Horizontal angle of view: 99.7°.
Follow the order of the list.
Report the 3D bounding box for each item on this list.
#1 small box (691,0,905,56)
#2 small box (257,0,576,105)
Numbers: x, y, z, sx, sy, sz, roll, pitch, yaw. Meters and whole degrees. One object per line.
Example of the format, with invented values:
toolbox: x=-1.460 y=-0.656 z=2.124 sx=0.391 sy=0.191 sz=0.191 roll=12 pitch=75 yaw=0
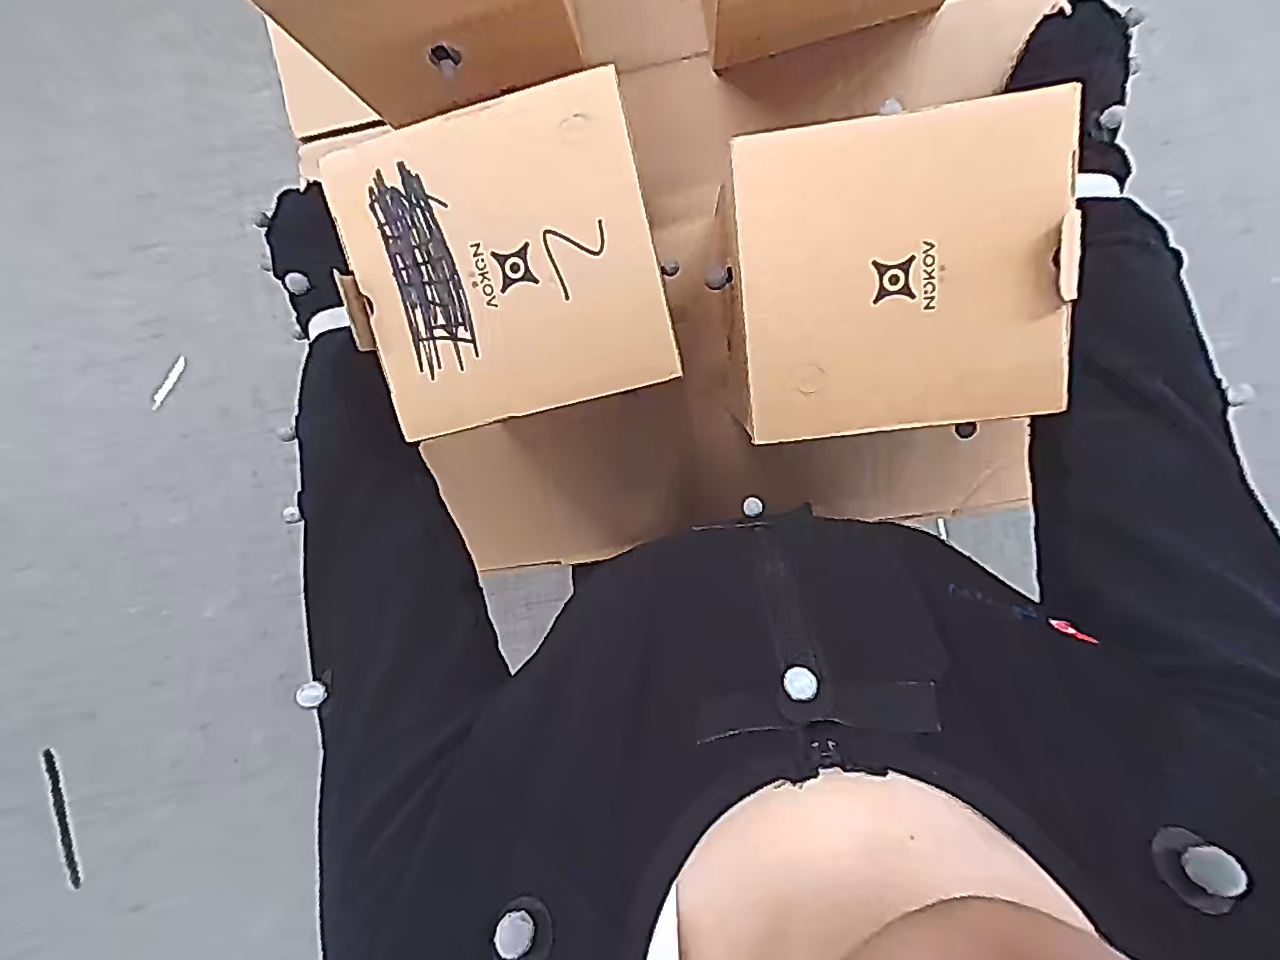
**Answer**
small box: x=0.111 y=-0.405 z=0.321 sx=0.179 sy=0.176 sz=0.168 roll=-10 pitch=99 yaw=8
small box: x=-0.147 y=-0.379 z=0.349 sx=0.168 sy=0.176 sz=0.179 roll=-9 pitch=98 yaw=6
